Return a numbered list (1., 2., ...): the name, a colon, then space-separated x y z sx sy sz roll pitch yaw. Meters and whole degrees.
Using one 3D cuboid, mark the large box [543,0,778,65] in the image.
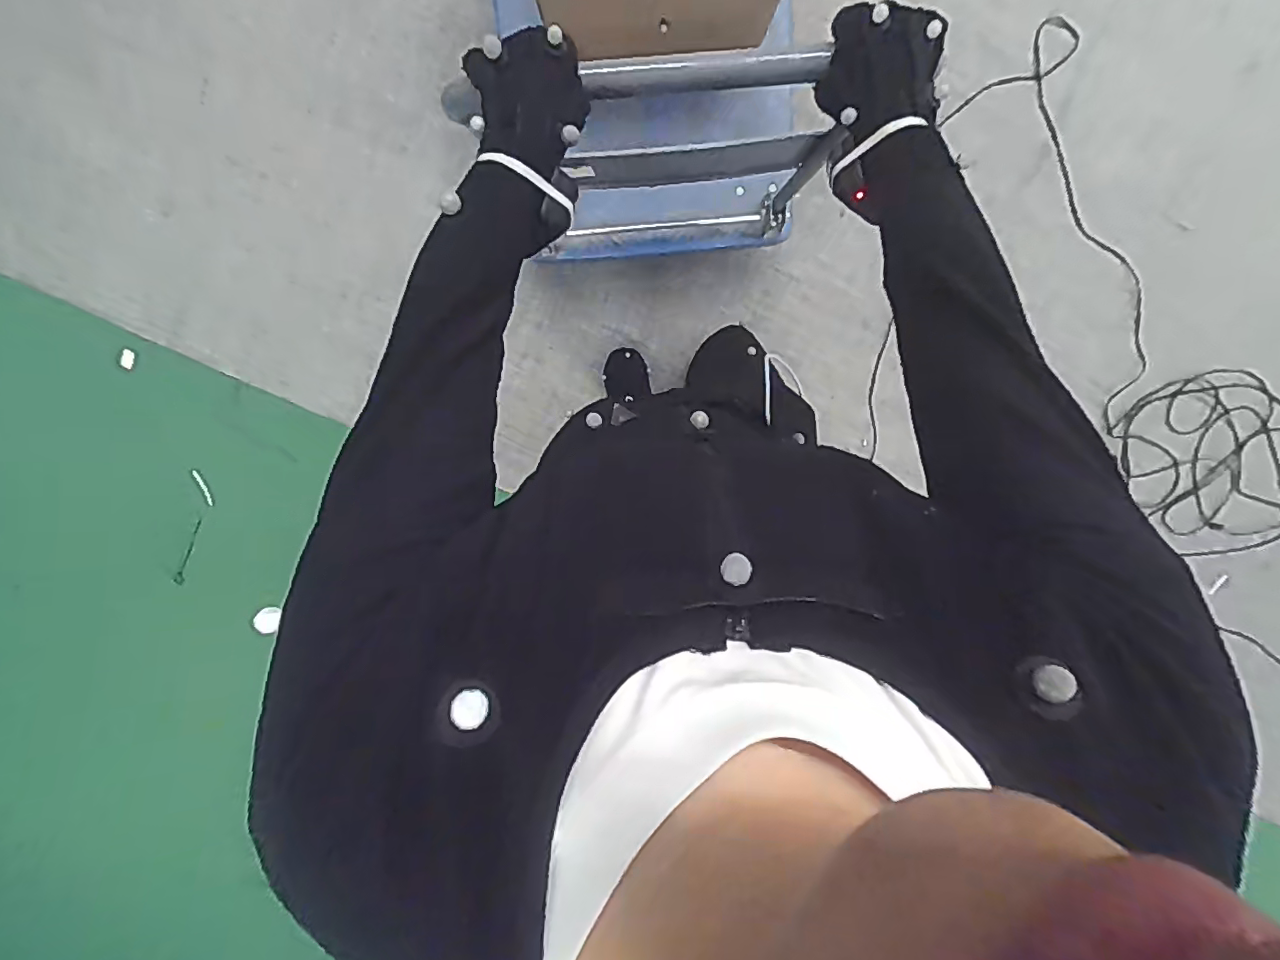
1. large box: 0.027 -0.949 0.890 0.408 0.320 0.320 -6 106 2
